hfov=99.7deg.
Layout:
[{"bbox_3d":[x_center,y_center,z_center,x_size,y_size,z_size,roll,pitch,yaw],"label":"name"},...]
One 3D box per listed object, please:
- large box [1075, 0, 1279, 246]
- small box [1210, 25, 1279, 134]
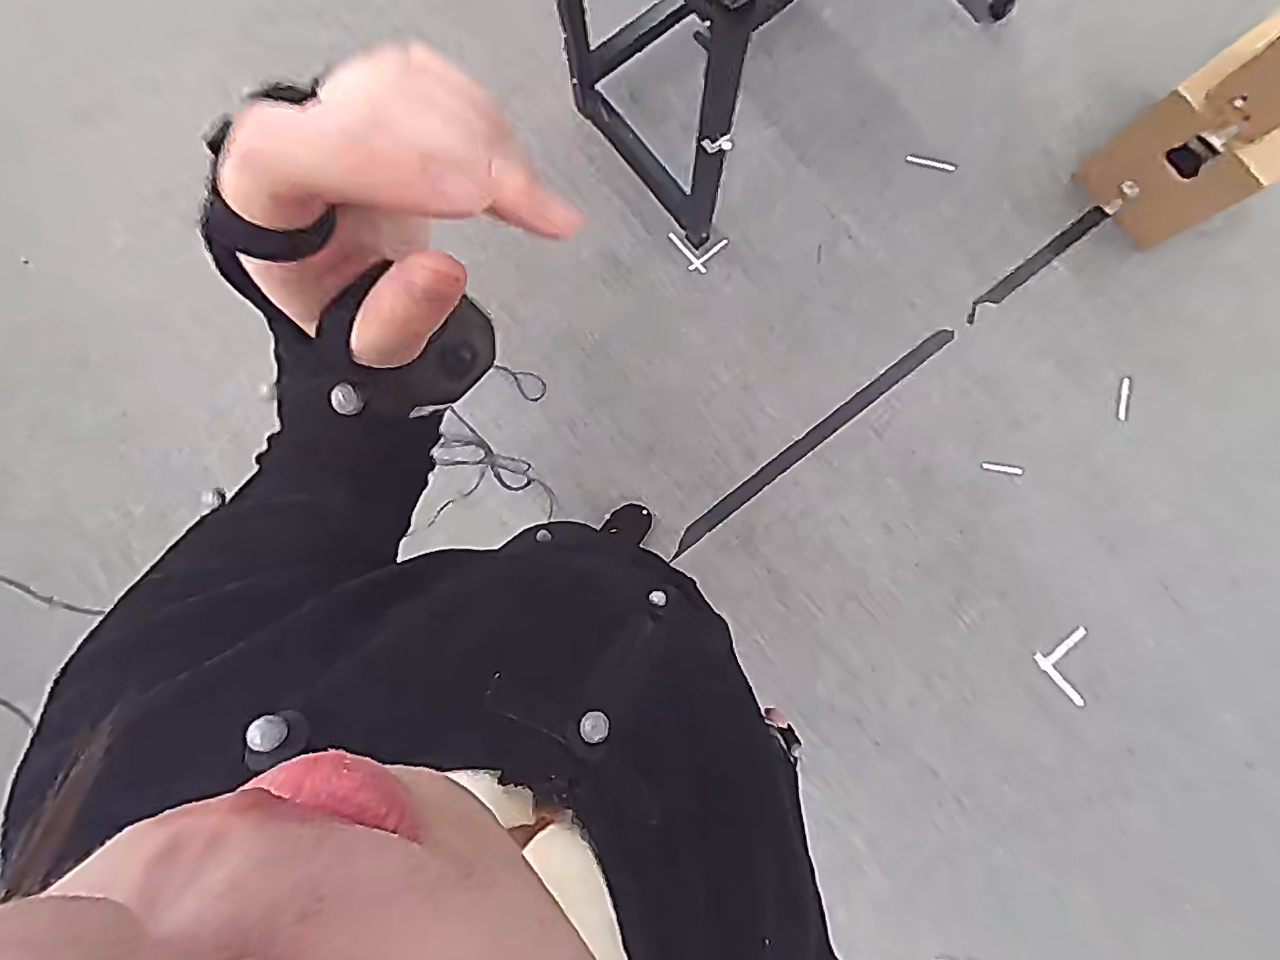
[{"bbox_3d":[1.481,-0.905,1.398,0.408,0.320,0.320,-37,87,-2],"label":"large box"},{"bbox_3d":[1.408,-0.899,1.155,0.179,0.176,0.168,-38,84,-1],"label":"small box"}]
